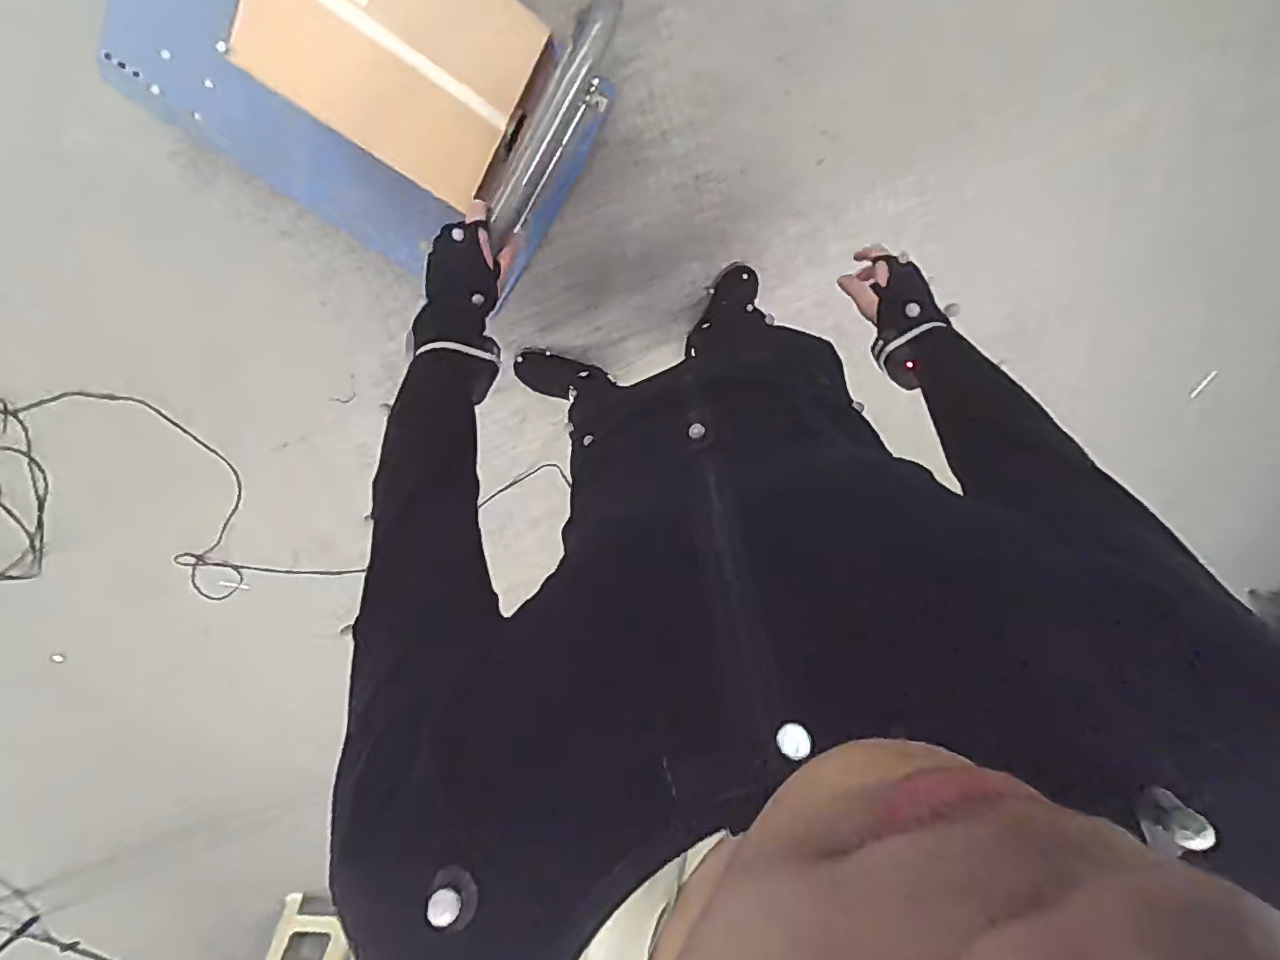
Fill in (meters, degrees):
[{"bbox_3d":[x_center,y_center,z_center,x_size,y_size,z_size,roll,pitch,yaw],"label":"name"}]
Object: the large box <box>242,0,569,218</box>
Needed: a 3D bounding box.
[{"bbox_3d":[-0.382,-0.729,0.978,0.408,0.320,0.320,30,109,-15],"label":"large box"}]
